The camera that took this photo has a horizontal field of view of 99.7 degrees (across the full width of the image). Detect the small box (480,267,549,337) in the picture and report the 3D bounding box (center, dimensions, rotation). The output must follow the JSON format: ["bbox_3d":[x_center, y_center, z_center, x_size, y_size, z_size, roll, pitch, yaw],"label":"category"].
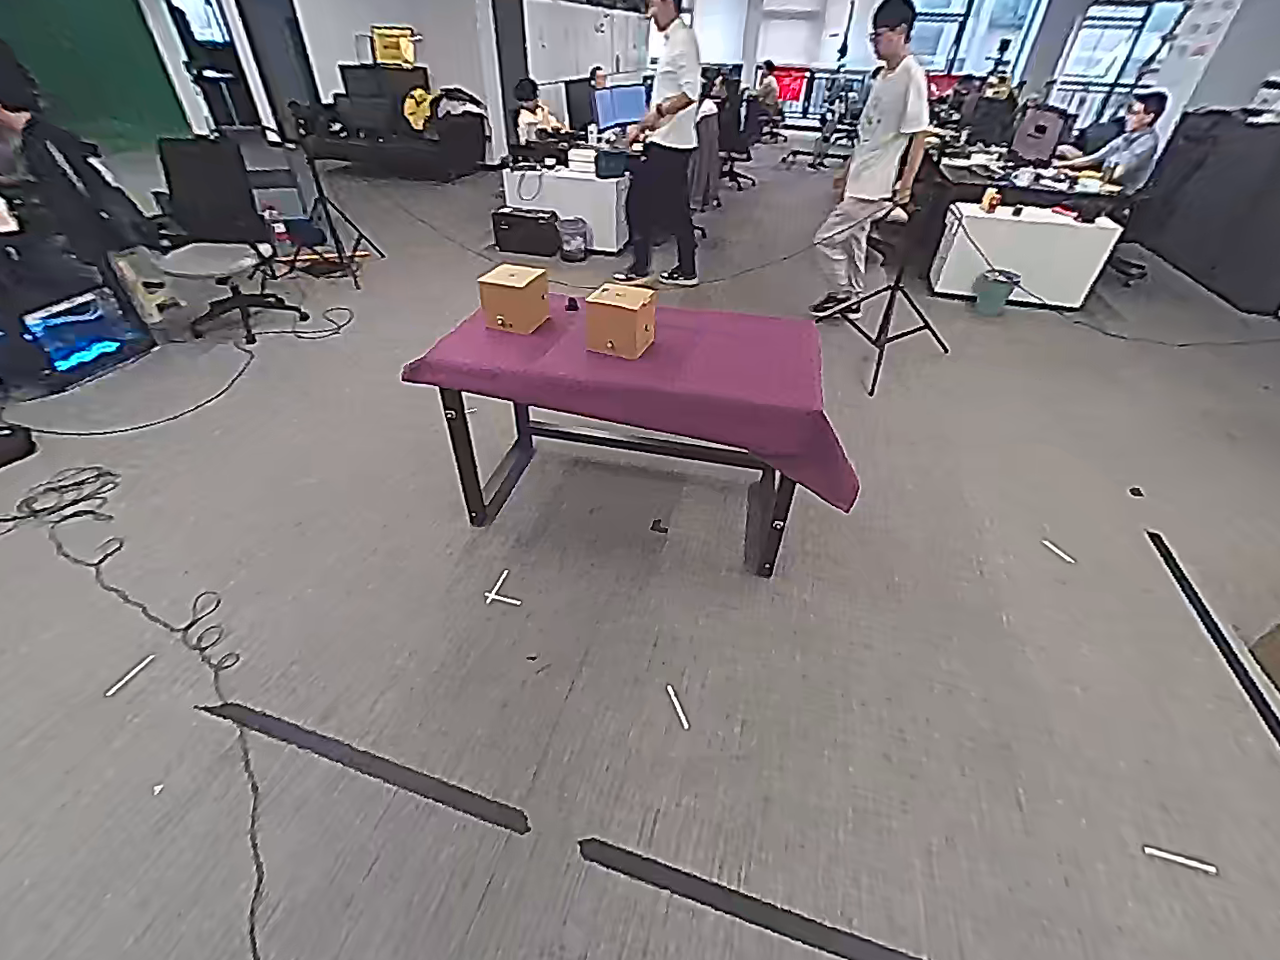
[{"bbox_3d":[-0.421,-0.608,1.844,0.168,0.176,0.179,12,41,13],"label":"small box"}]

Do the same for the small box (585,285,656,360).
[{"bbox_3d":[-0.061,-0.502,1.730,0.179,0.176,0.168,16,41,15],"label":"small box"}]
